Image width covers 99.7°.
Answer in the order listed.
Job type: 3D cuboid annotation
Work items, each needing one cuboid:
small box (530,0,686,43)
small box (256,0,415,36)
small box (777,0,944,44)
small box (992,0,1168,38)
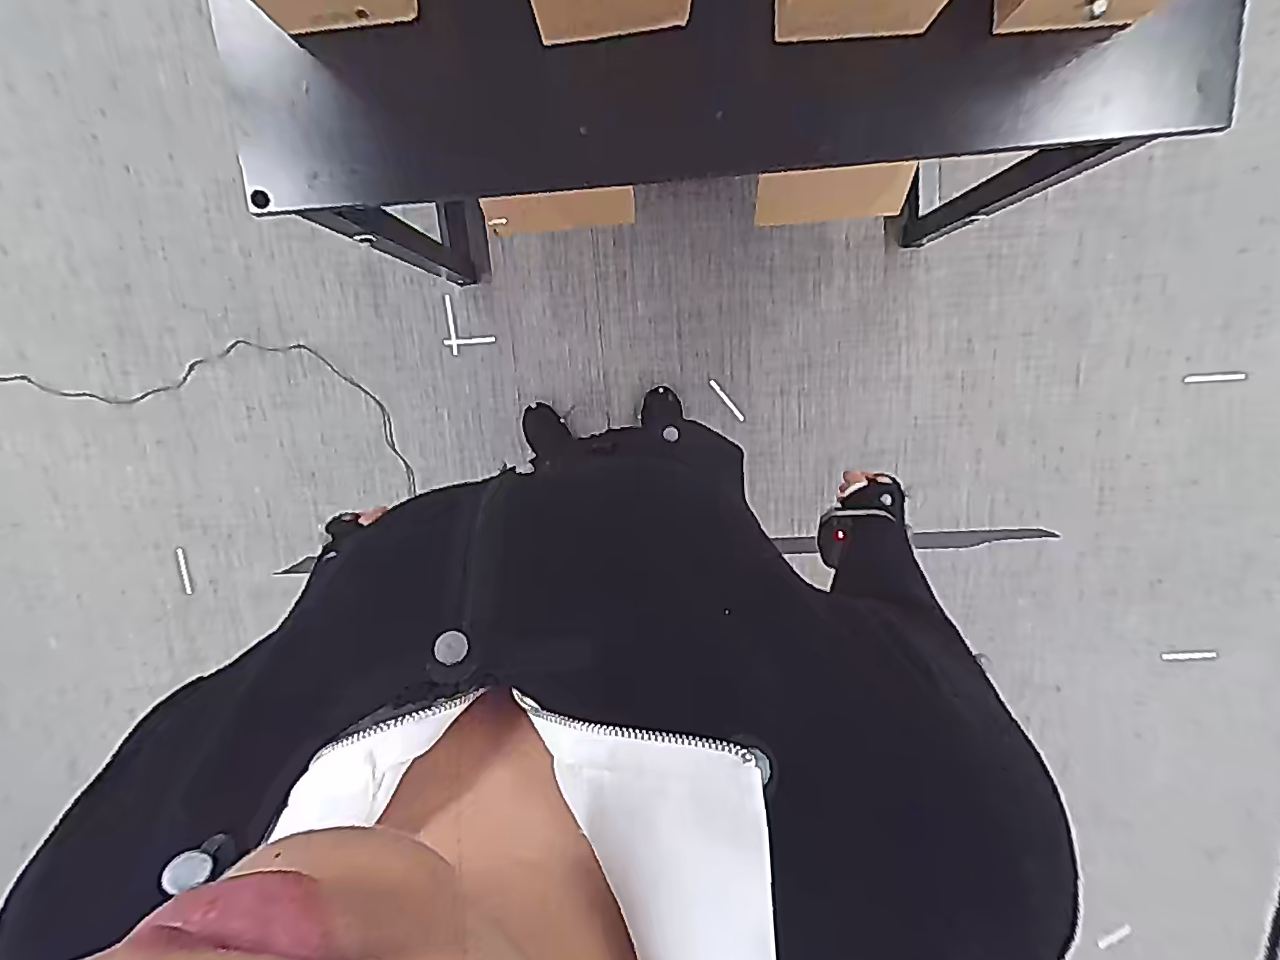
[{"bbox_3d":[-0.040,-0.586,0.549,0.179,0.176,0.168,-7,102,1],"label":"small box"},{"bbox_3d":[-0.351,-0.603,0.547,0.168,0.176,0.179,-5,101,1],"label":"small box"},{"bbox_3d":[0.240,-0.579,0.544,0.179,0.176,0.168,-2,101,1],"label":"small box"},{"bbox_3d":[0.484,-0.590,0.537,0.168,0.176,0.179,-2,101,3],"label":"small box"}]
